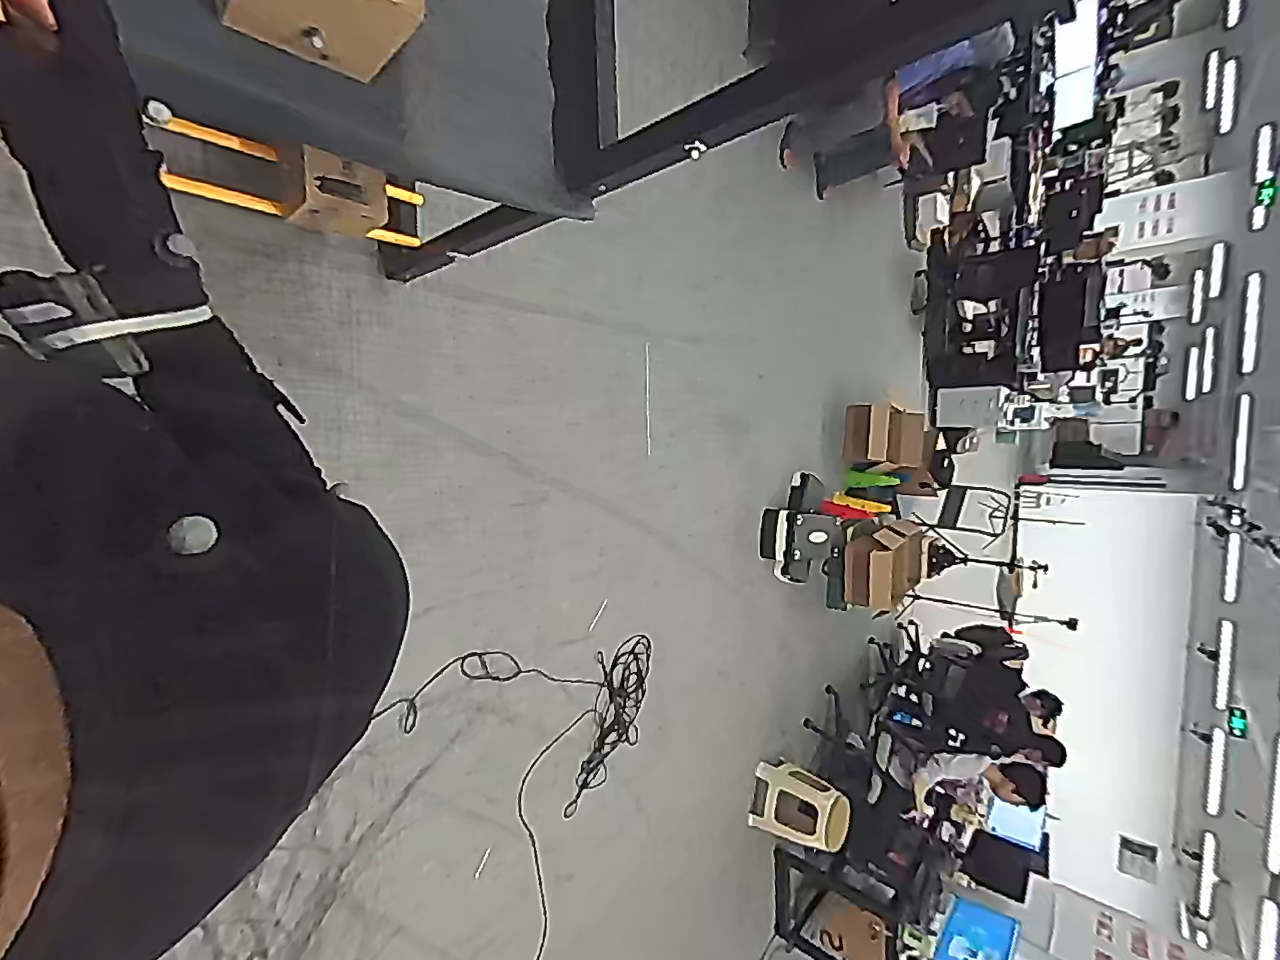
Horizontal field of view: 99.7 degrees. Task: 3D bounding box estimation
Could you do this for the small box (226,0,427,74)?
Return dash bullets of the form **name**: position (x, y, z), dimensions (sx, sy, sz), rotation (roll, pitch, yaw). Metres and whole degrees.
- **small box**: position (-0.367, -0.621, 0.614), dimensions (0.168, 0.176, 0.179), rotation (-10, 99, -47)
